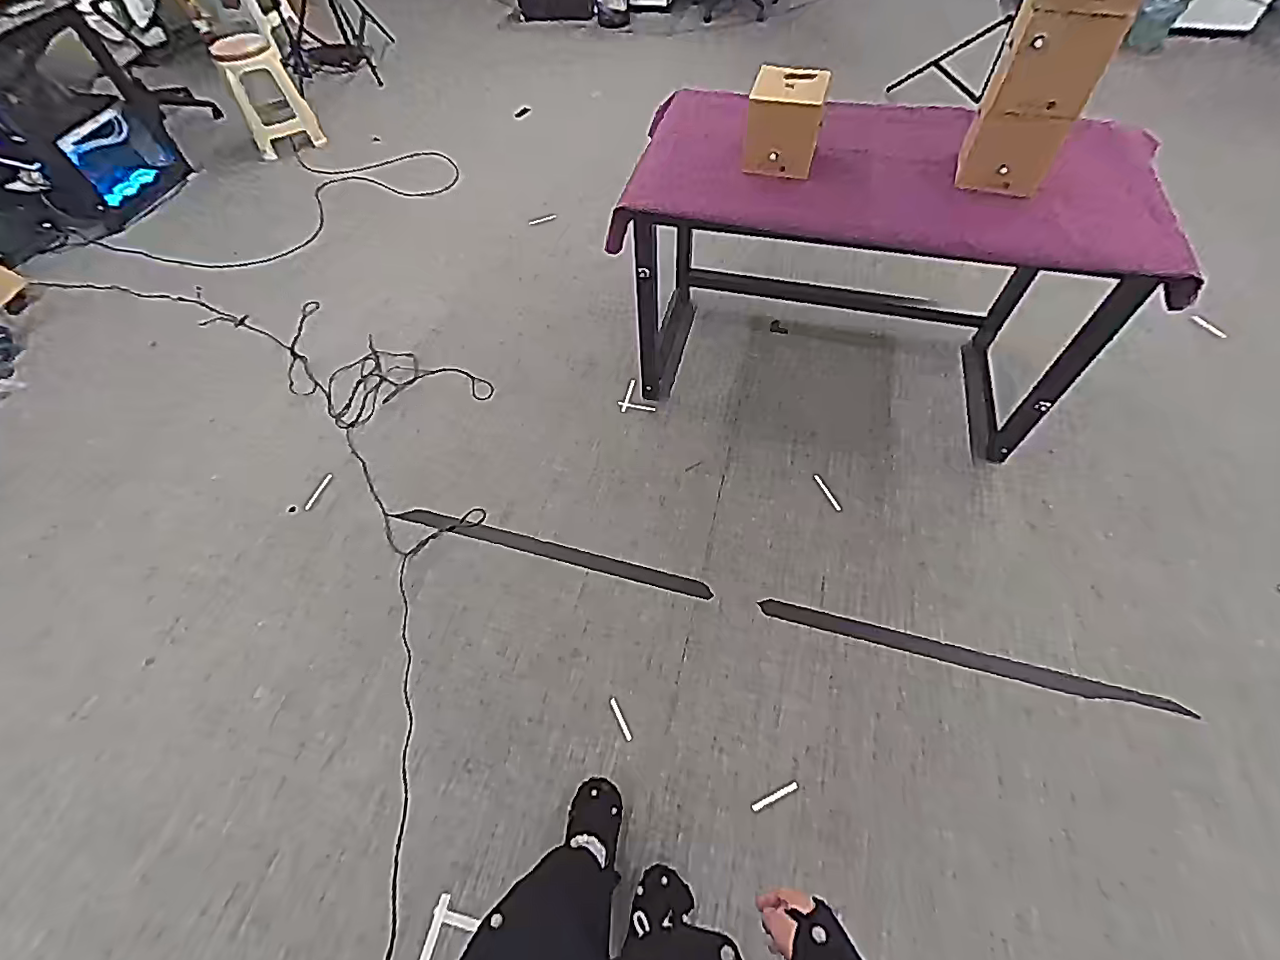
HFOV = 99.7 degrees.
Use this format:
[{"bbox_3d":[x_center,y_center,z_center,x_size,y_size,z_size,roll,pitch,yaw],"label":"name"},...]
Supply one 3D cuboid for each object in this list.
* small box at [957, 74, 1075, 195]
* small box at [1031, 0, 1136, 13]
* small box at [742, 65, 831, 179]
[{"bbox_3d":[0.843,-0.783,1.226,0.168,0.176,0.179,16,59,14],"label":"small box"},{"bbox_3d":[0.822,-0.957,0.951,0.168,0.176,0.179,19,58,14],"label":"small box"},{"bbox_3d":[0.348,-0.864,1.306,0.168,0.176,0.179,13,59,11],"label":"small box"}]
